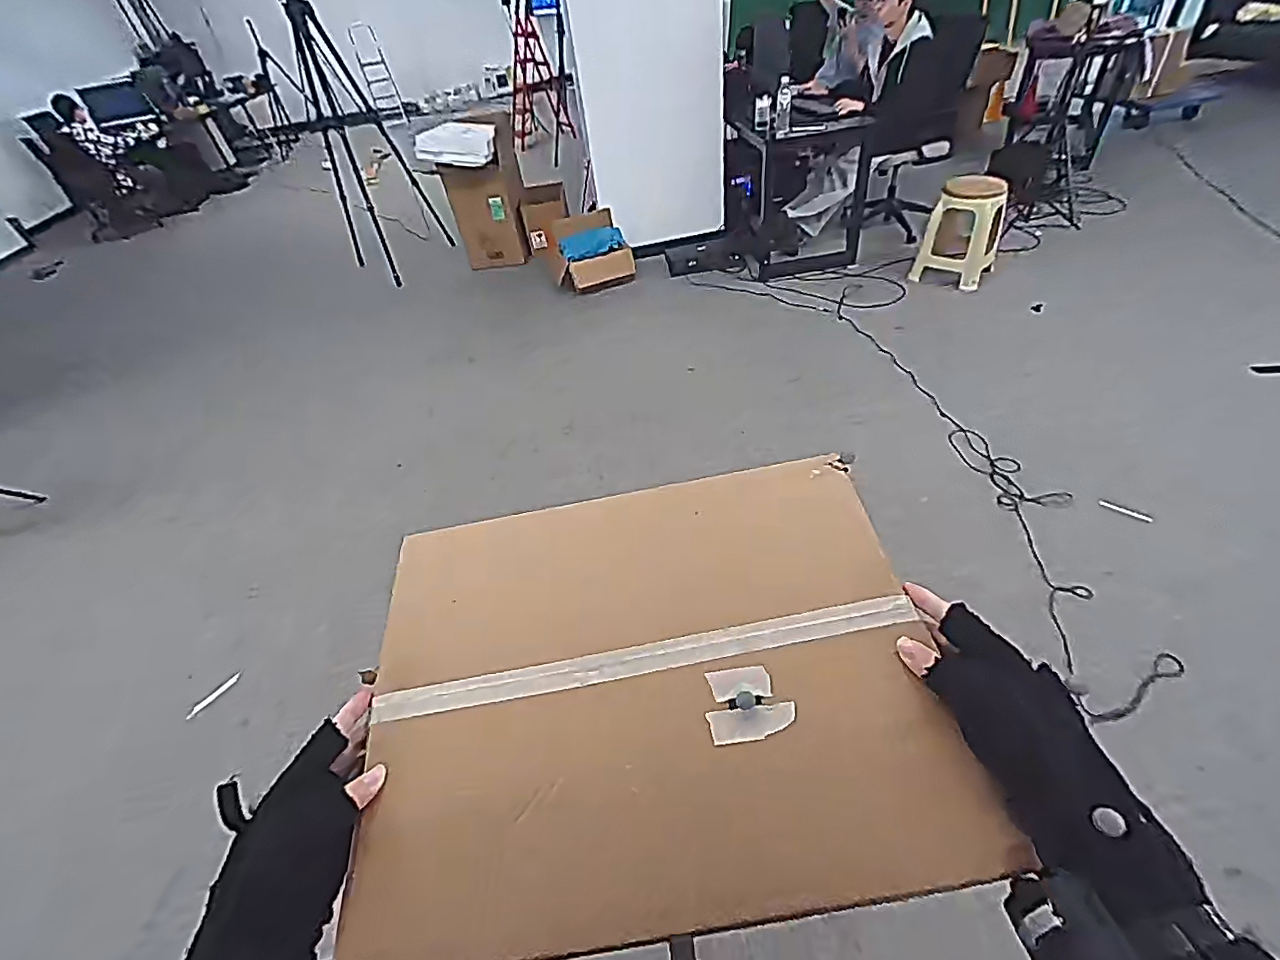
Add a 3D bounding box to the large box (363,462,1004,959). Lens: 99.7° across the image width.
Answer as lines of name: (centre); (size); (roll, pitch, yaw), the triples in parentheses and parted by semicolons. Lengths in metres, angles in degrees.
large box: (0.022, 0.229, 0.531); (0.408, 0.320, 0.320); (-10, 52, 0)
